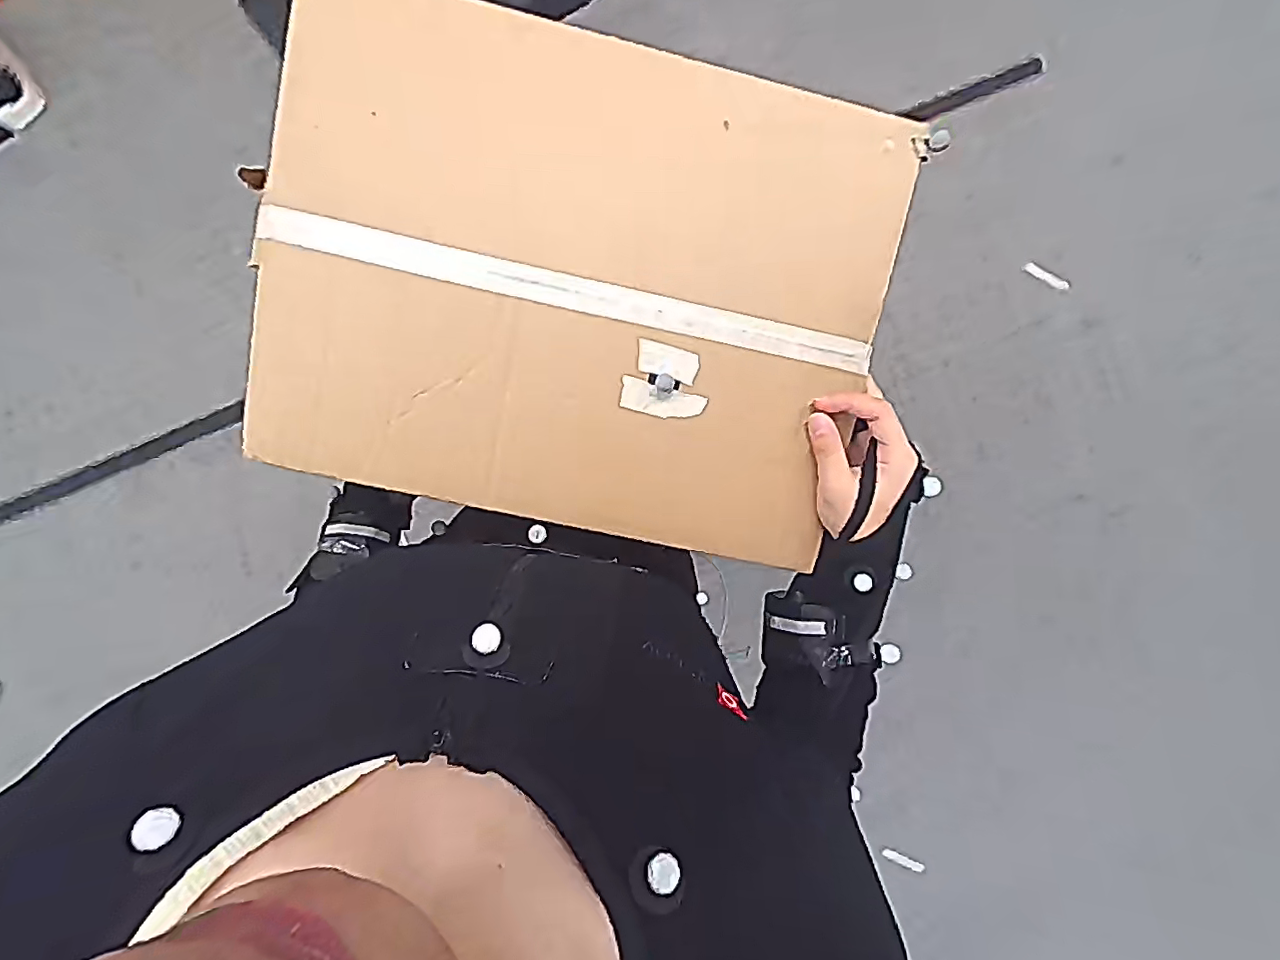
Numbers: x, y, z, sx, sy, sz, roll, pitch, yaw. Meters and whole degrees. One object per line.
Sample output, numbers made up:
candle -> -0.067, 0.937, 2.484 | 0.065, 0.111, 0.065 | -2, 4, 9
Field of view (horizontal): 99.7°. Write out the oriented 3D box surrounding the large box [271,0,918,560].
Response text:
large box -> -0.042, -0.143, 0.518 | 0.408, 0.320, 0.320 | 12, 98, -6
